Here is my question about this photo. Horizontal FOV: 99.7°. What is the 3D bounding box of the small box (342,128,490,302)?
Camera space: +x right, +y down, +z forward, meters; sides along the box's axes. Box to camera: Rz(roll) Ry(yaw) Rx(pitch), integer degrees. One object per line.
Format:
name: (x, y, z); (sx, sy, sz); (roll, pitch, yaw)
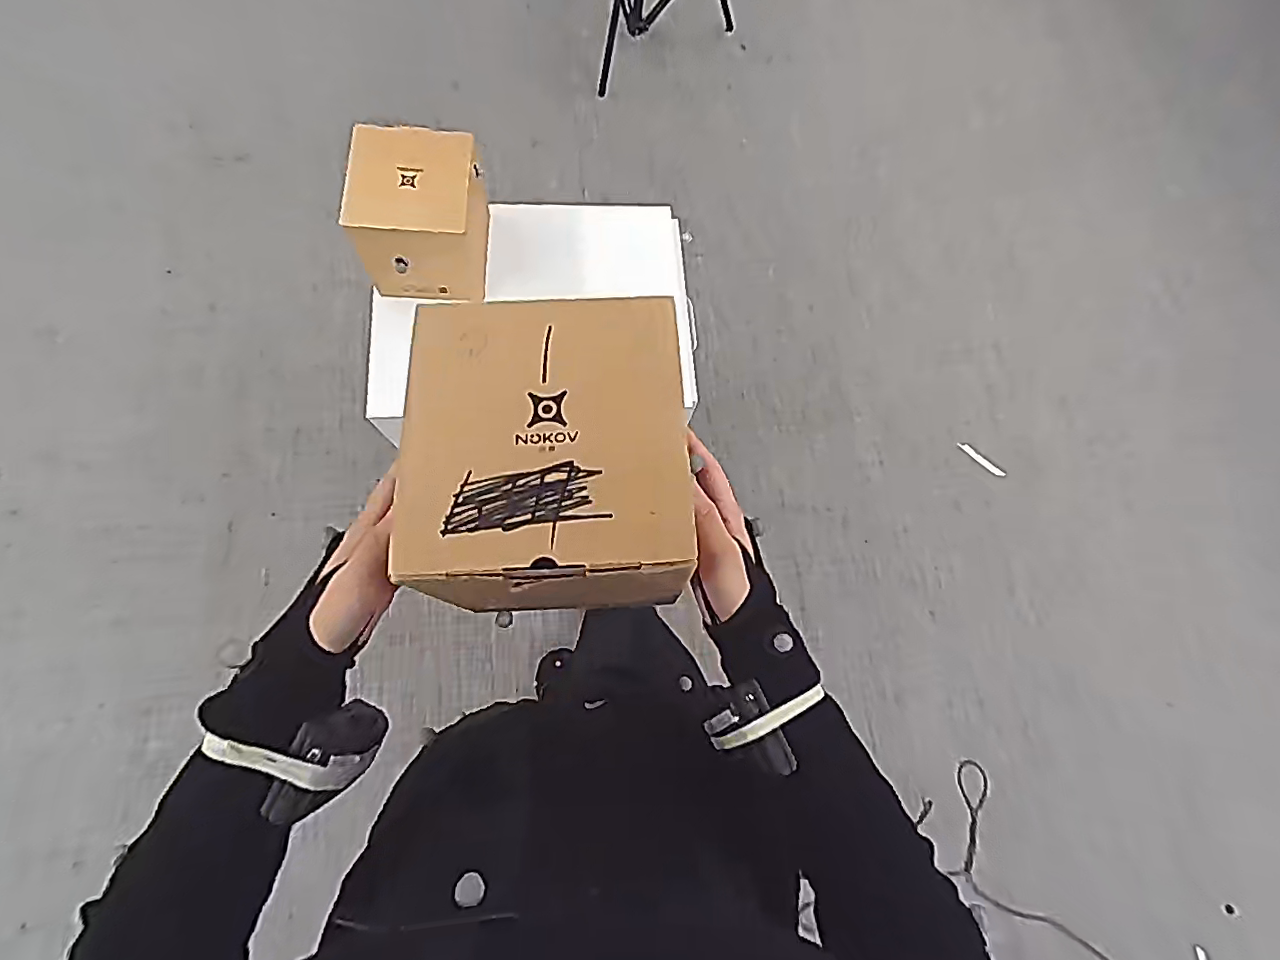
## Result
small box: (-0.329, -0.393, 0.828); (0.168, 0.176, 0.179); (0, 74, -7)
